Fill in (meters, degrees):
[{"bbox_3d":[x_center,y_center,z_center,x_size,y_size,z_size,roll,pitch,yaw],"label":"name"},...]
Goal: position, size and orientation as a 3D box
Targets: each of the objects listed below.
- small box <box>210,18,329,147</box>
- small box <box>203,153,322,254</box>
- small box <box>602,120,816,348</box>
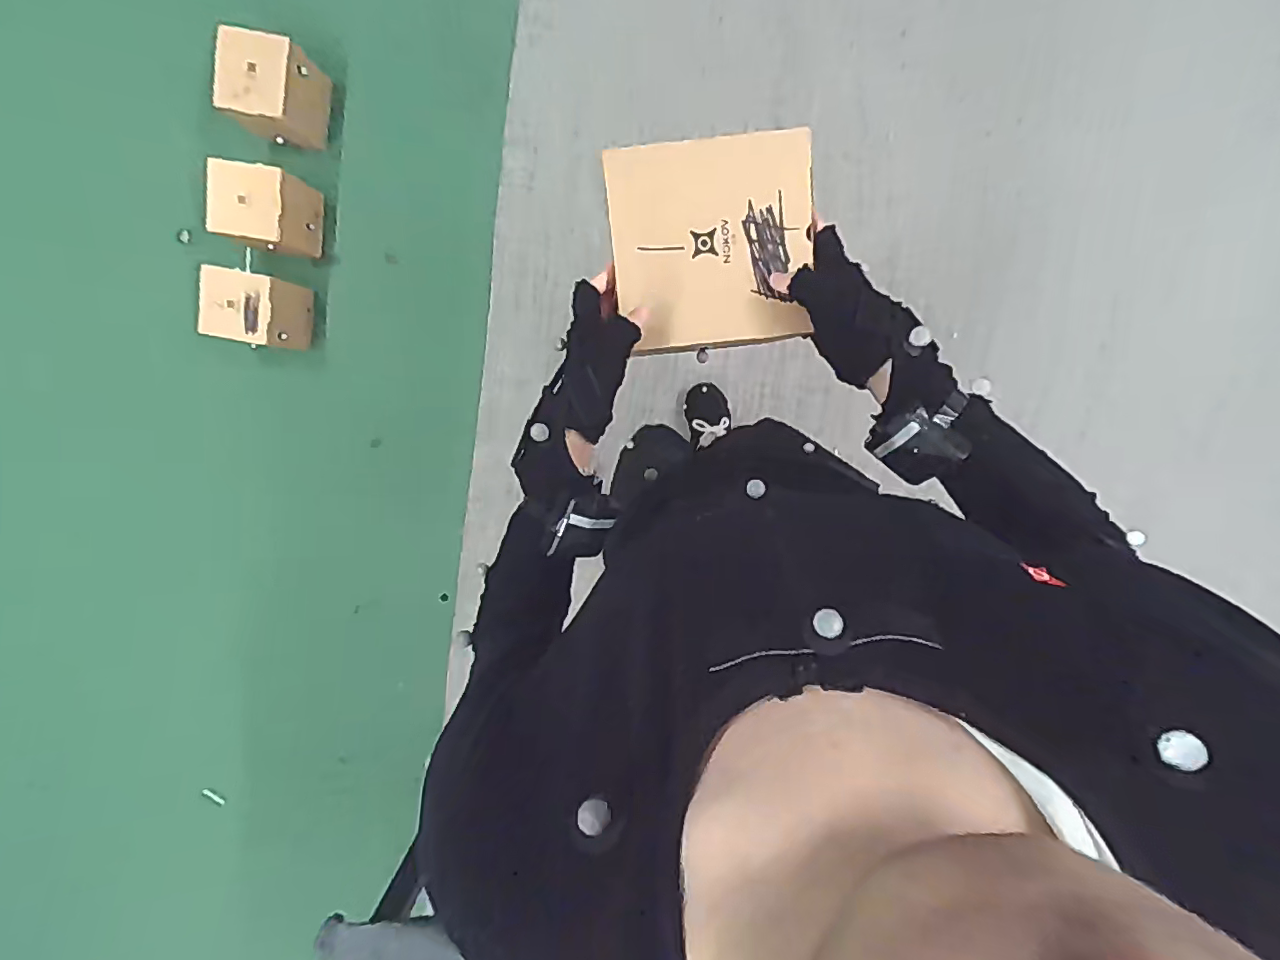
[{"bbox_3d":[-0.879,-0.943,1.299,0.168,0.176,0.179,11,98,0],"label":"small box"},{"bbox_3d":[-0.929,-0.676,1.340,0.179,0.176,0.168,8,98,-1],"label":"small box"},{"bbox_3d":[0.059,-0.224,0.536,0.179,0.176,0.168,-6,101,0],"label":"small box"}]
